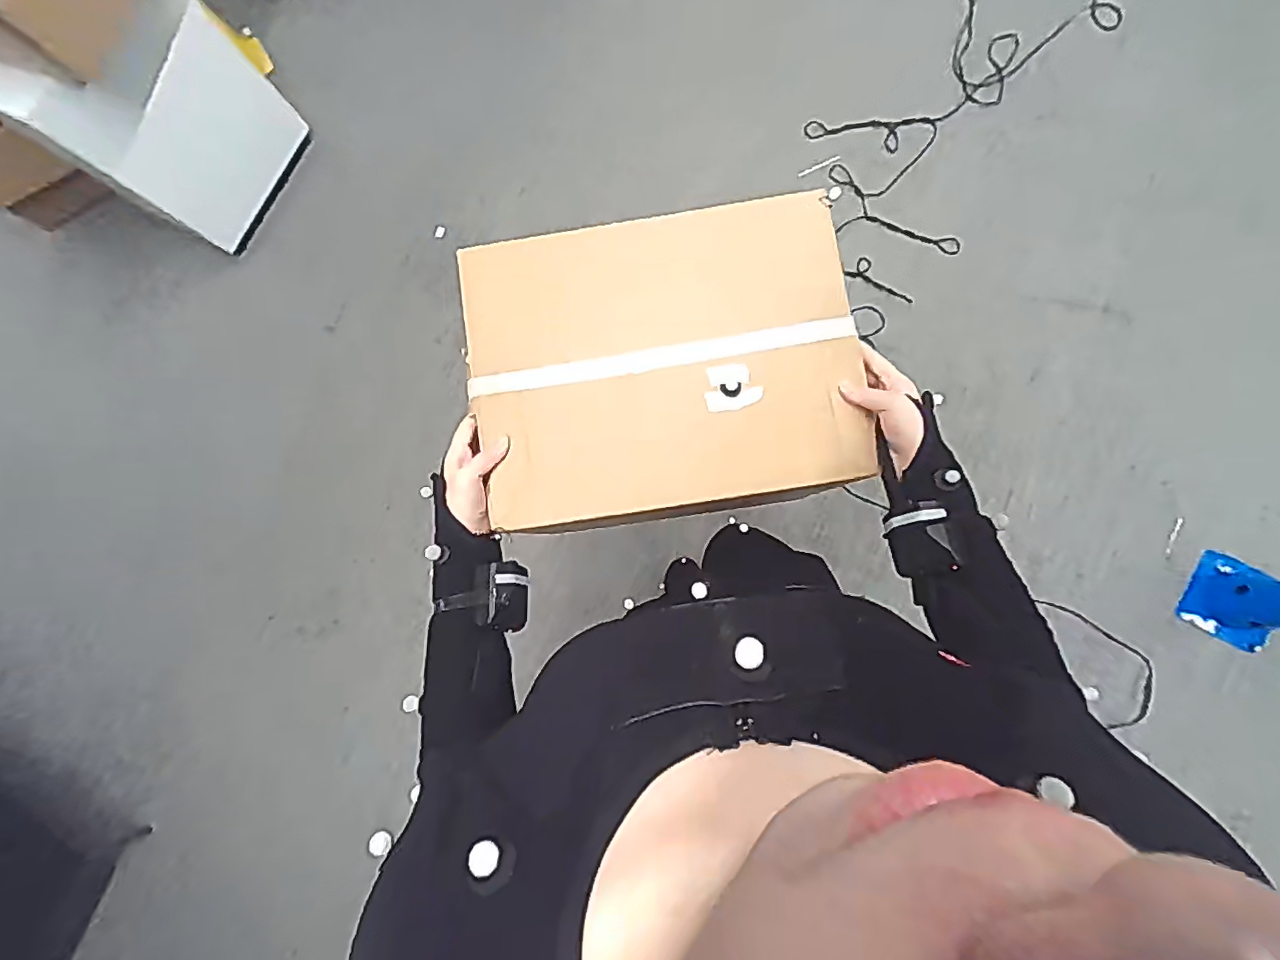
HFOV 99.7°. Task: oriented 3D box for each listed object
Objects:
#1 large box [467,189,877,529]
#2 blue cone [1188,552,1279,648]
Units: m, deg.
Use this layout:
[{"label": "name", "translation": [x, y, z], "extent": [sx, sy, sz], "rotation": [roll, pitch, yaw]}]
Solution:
[{"label": "large box", "translation": [0.030, -0.119, 0.721], "extent": [0.408, 0.320, 0.320], "rotation": [-8, 84, 1]}, {"label": "blue cone", "translation": [1.466, 0.272, 1.181], "extent": [0.192, 0.380, 0.193], "rotation": [31, 86, 10]}]
